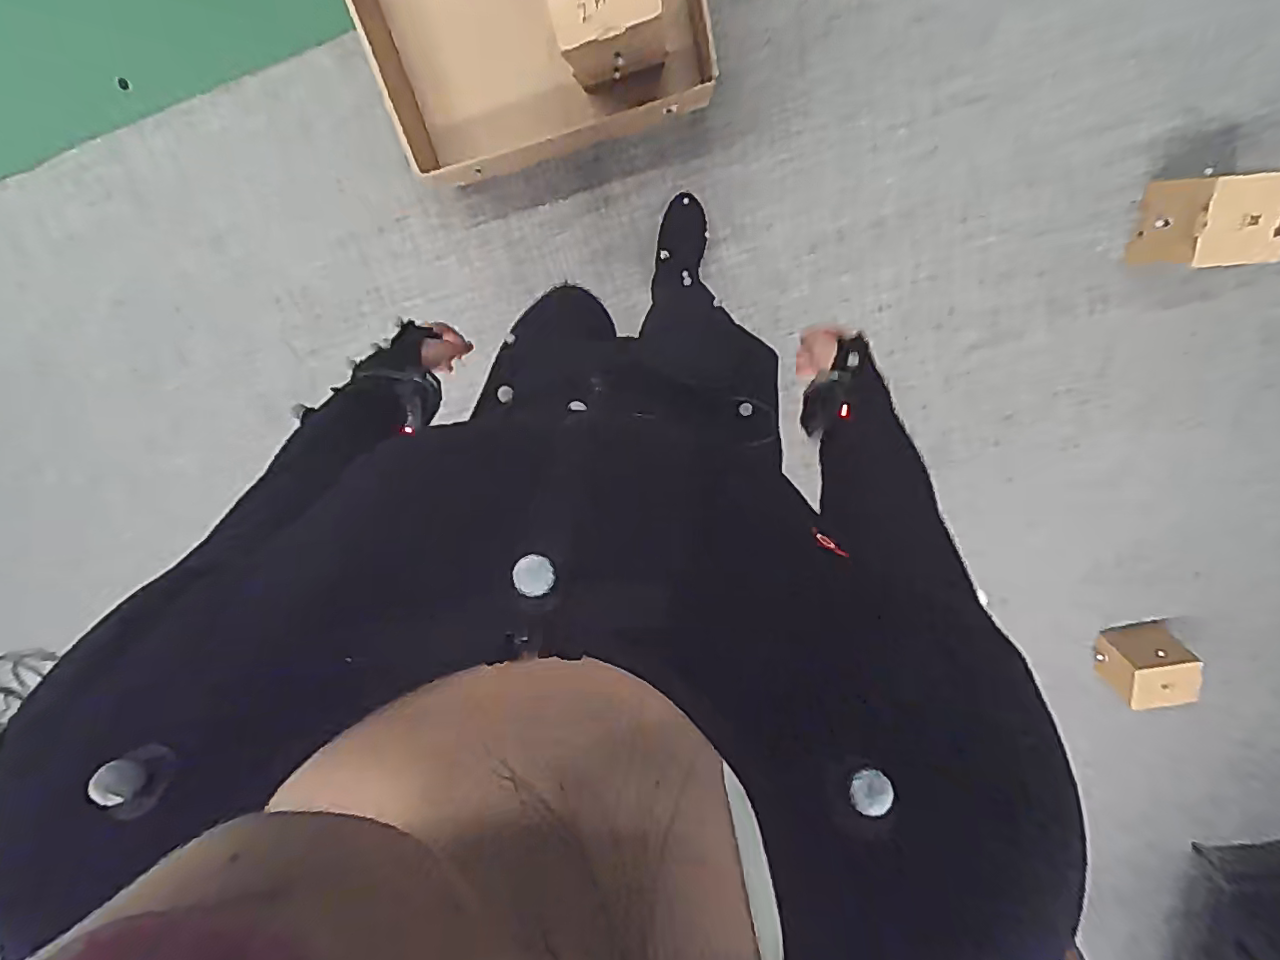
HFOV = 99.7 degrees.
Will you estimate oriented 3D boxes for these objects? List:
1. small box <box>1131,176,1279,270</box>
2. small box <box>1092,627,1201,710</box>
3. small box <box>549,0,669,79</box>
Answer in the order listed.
[{"bbox_3d":[1.194,-0.534,1.128,0.179,0.176,0.168,-2,116,5],"label":"small box"},{"bbox_3d":[1.552,0.575,1.666,0.179,0.176,0.168,-13,114,11],"label":"small box"},{"bbox_3d":[-0.054,-0.763,0.838,0.168,0.176,0.179,-12,116,10],"label":"small box"}]
